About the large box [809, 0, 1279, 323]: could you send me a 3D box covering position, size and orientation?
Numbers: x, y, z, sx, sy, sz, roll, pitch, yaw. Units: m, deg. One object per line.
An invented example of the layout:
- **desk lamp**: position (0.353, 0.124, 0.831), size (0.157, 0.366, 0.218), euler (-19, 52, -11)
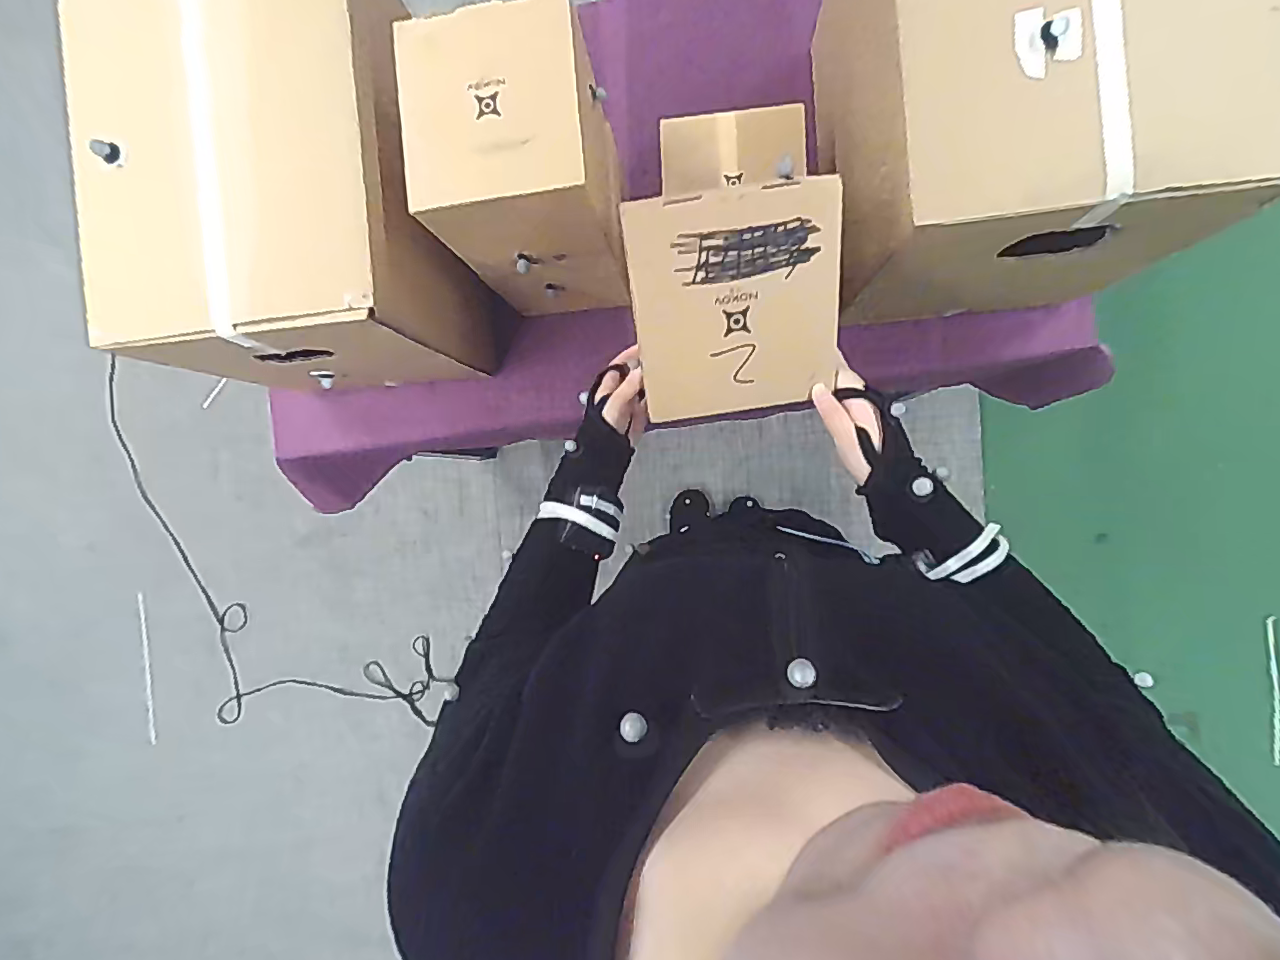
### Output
- **large box**: position (0.391, -0.427, 0.605), size (0.320, 0.320, 0.408), euler (-4, 90, 6)
